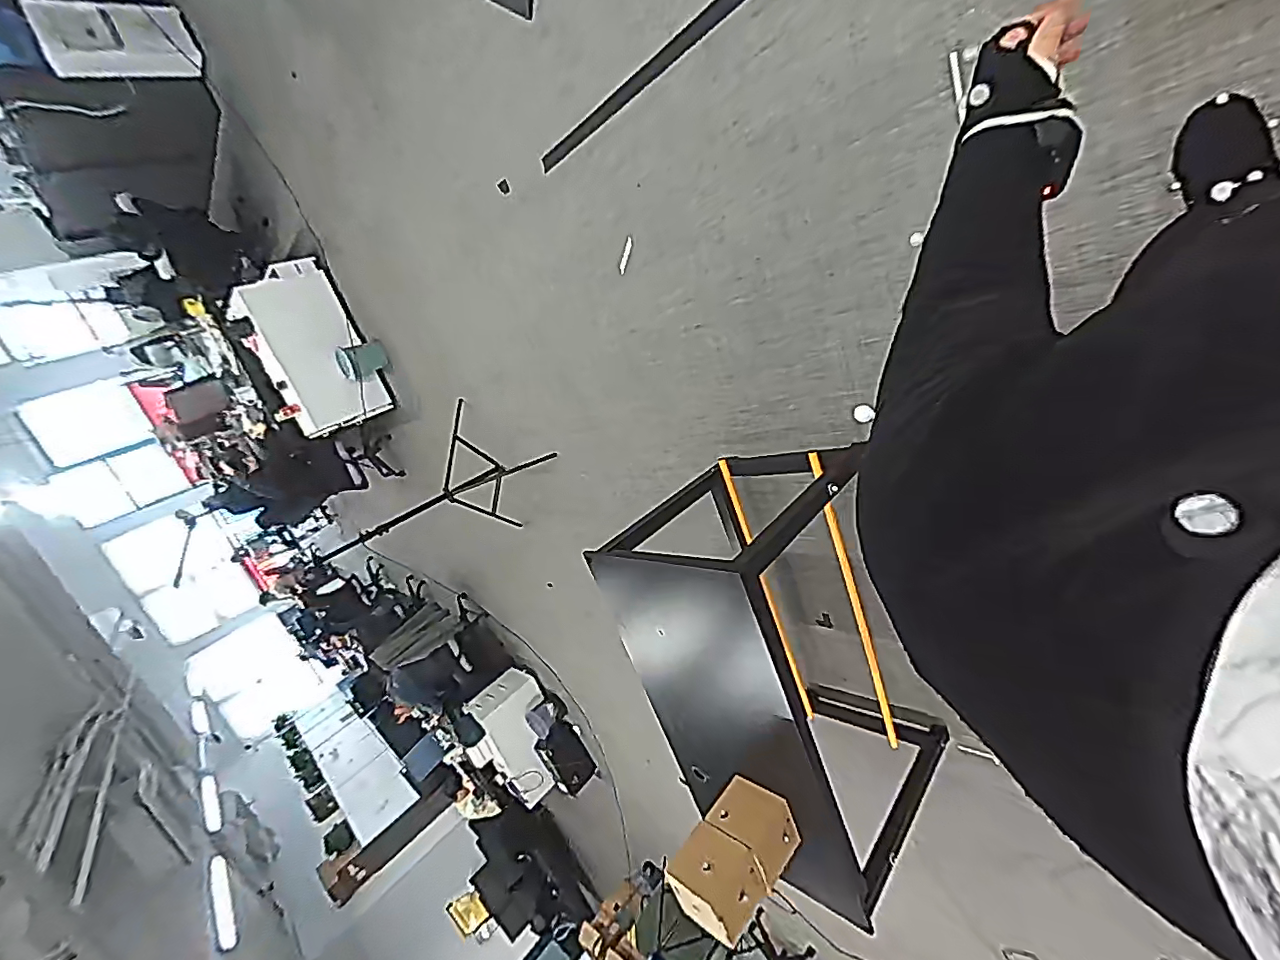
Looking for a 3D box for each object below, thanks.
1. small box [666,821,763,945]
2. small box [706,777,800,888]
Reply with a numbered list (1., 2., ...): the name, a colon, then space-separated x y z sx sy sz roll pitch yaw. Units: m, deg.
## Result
1. small box: 0.207 1.060 1.442 0.179 0.176 0.168 -5 113 49
2. small box: 0.321 0.984 1.531 0.179 0.176 0.168 0 117 49
